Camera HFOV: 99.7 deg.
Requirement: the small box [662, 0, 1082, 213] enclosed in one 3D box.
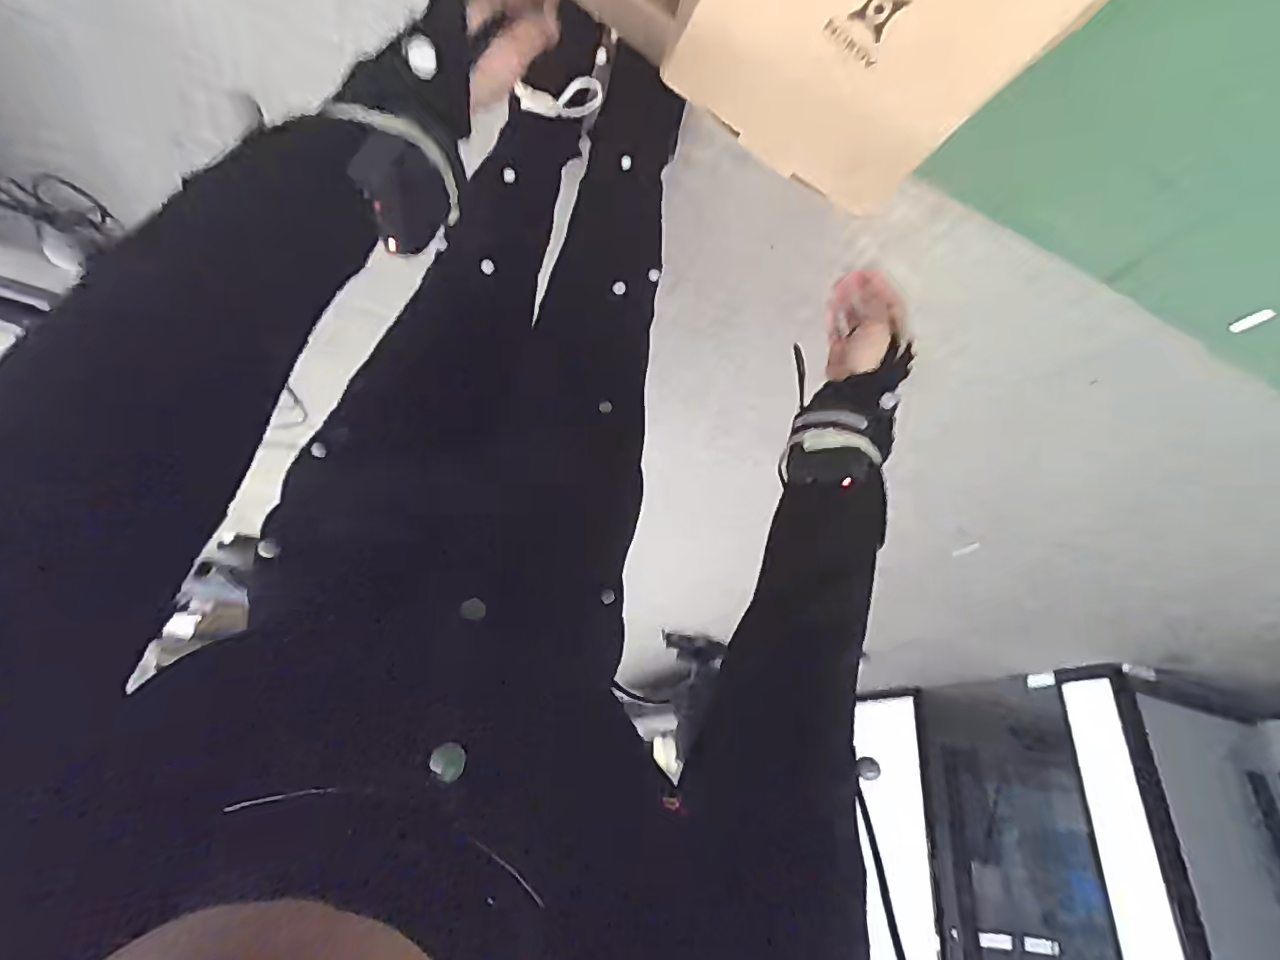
[{"bbox_3d":[0.135,-0.315,0.324,0.168,0.176,0.179,22,147,-20],"label":"small box"}]
